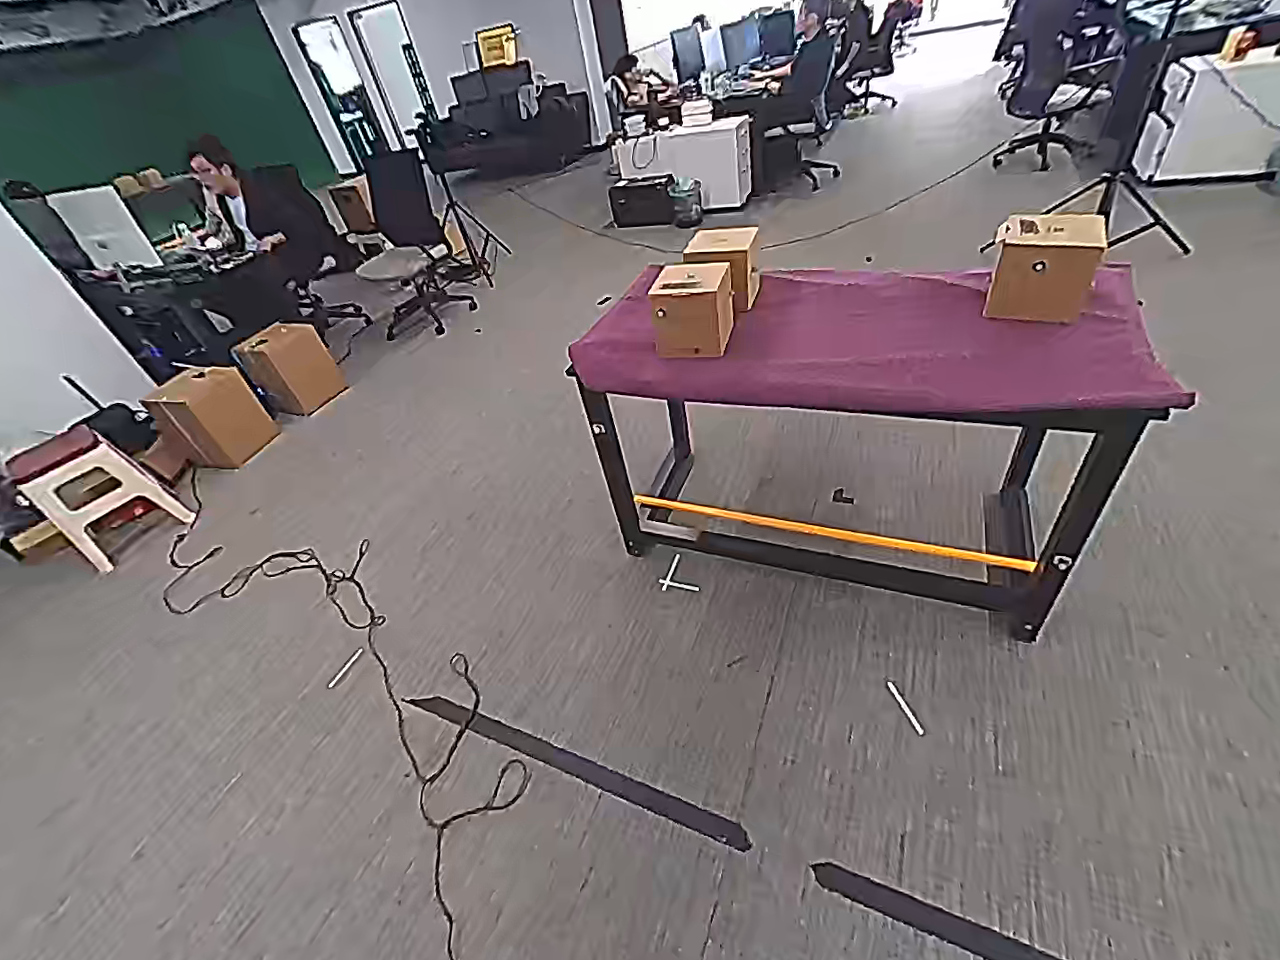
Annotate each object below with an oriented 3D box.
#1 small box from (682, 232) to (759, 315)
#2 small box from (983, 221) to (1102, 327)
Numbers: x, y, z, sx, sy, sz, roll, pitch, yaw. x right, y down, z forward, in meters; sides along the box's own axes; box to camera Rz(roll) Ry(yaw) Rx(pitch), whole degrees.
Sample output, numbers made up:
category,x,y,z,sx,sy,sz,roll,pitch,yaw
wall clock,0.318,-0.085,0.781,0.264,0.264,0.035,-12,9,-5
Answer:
category,x,y,z,sx,sy,sz,roll,pitch,yaw
small box,0.230,-0.570,1.500,0.179,0.176,0.168,6,44,21
small box,0.881,-0.455,1.195,0.179,0.176,0.168,15,49,27
